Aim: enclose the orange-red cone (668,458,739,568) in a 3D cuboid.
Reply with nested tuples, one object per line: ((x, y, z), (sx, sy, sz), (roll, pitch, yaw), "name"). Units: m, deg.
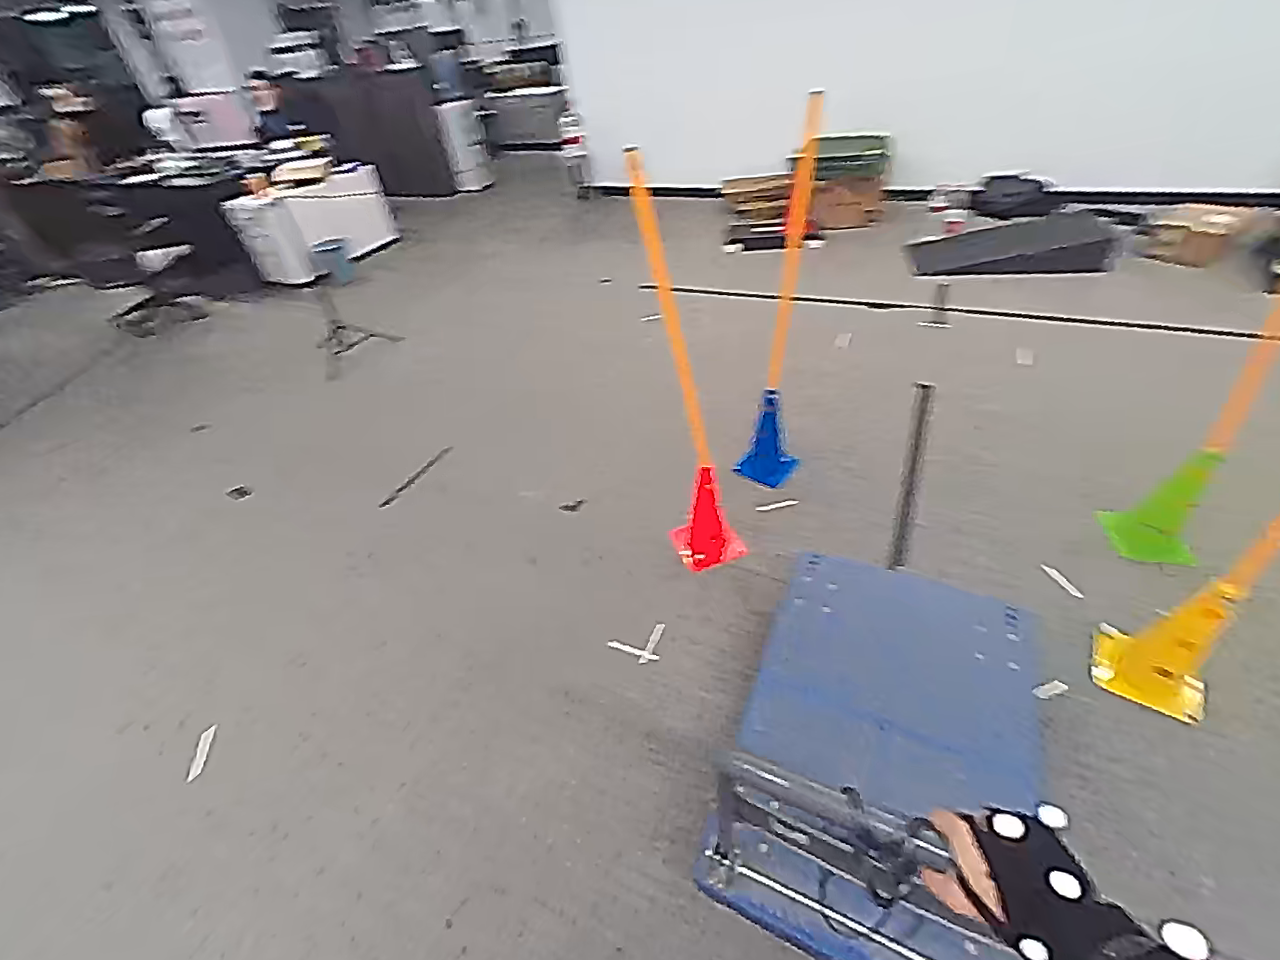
((0.198, 0.077, 1.714), (0.199, 0.360, 0.198), (-17, 43, -12), "orange-red cone")

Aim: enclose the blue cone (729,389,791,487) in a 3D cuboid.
((0.450, -0.174, 1.980), (0.193, 0.380, 0.192), (25, 52, 31), "blue cone")

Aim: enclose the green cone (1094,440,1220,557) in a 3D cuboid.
((1.538, 0.031, 1.566), (0.200, 0.368, 0.202), (3, 44, 12), "green cone")
